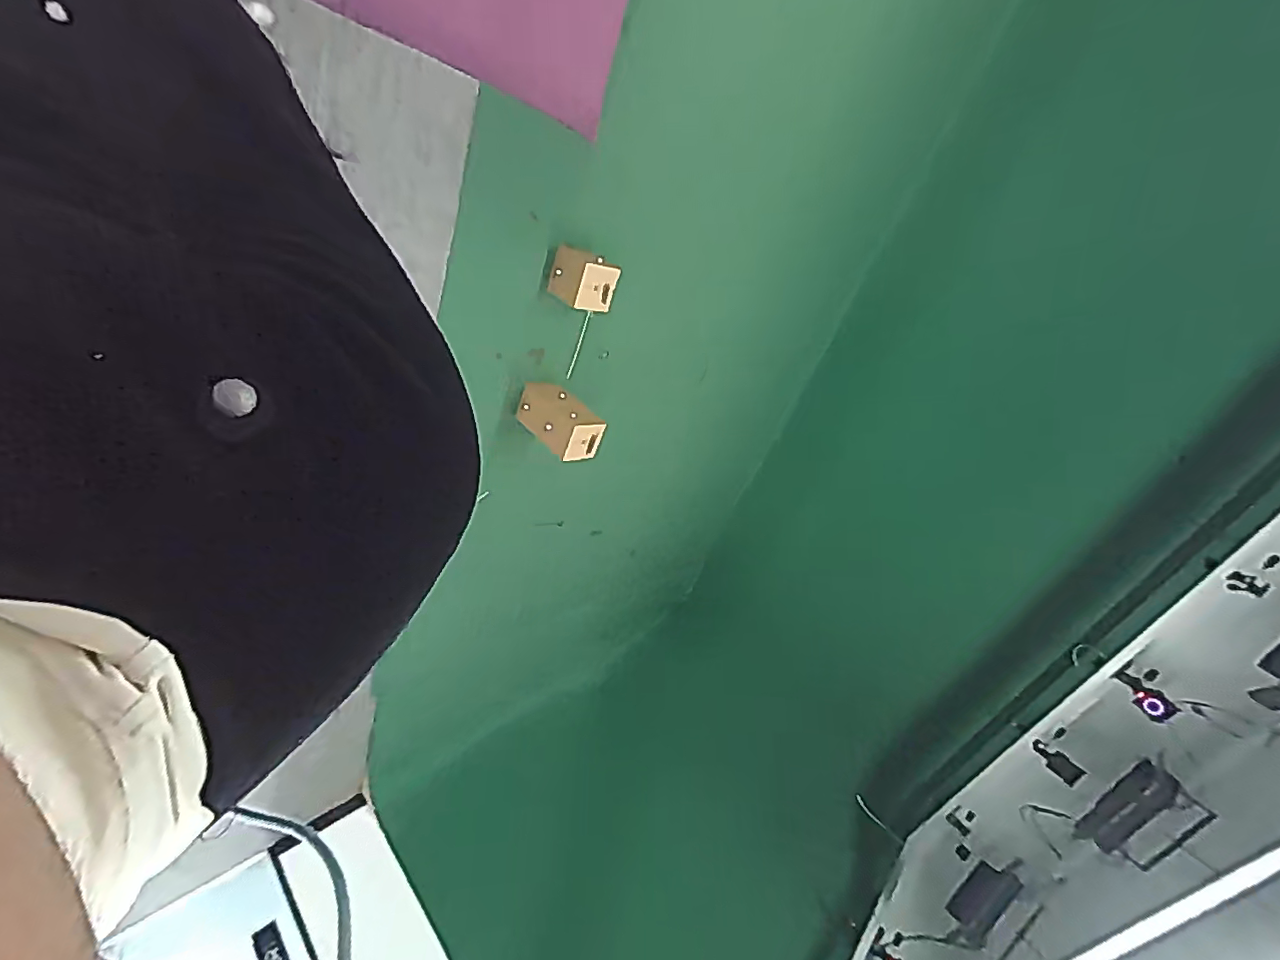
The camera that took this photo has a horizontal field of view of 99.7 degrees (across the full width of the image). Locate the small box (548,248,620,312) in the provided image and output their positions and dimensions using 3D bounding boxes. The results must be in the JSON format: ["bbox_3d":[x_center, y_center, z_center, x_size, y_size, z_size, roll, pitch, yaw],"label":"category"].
[{"bbox_3d":[-0.209,-0.738,1.992,0.179,0.176,0.168,-12,133,-47],"label":"small box"}]

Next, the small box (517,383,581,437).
[{"bbox_3d":[-0.384,-0.296,2.265,0.179,0.176,0.168,-10,132,-49],"label":"small box"}]
